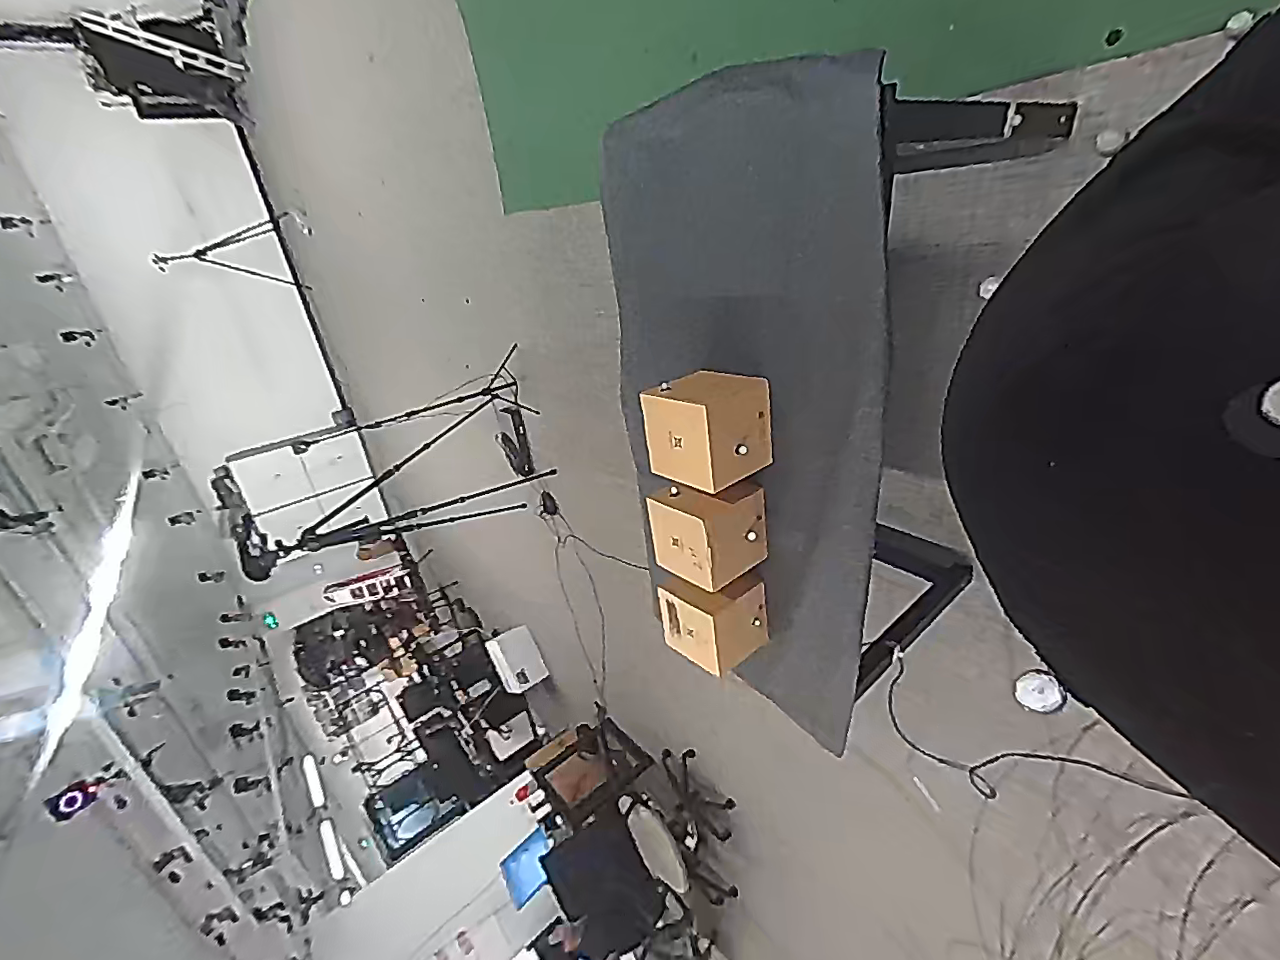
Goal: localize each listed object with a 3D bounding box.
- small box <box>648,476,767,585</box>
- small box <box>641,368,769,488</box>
[{"bbox_3d":[0.143,0.087,1.132,0.179,0.176,0.168,19,127,49],"label":"small box"},{"bbox_3d":[0.130,-0.108,1.021,0.179,0.176,0.168,21,128,49],"label":"small box"}]
